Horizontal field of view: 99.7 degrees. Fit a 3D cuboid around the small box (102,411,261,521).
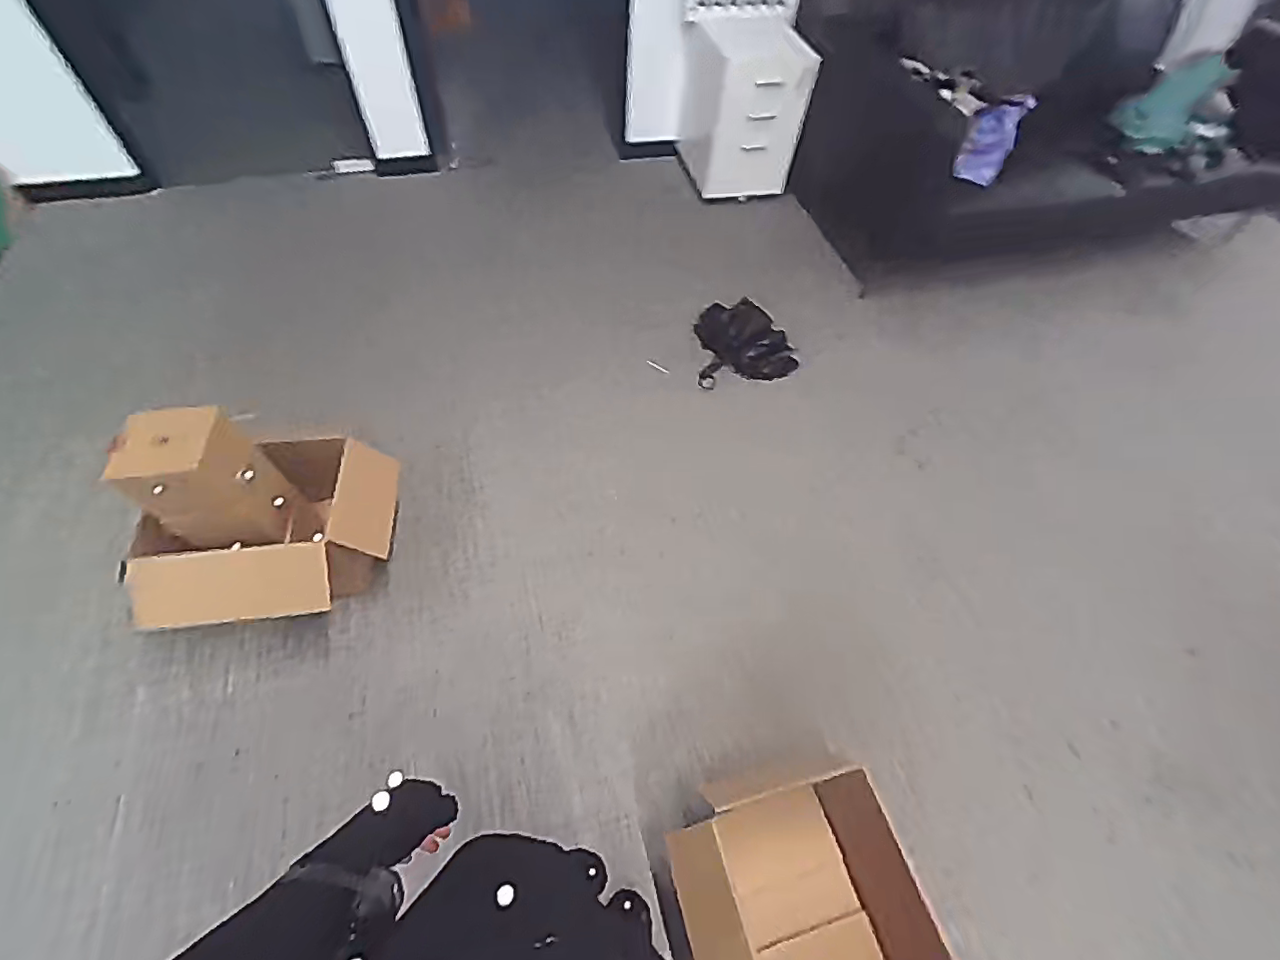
[{"bbox_3d":[-0.959,-0.025,1.150,0.179,0.176,0.168,-6,58,-7],"label":"small box"}]
